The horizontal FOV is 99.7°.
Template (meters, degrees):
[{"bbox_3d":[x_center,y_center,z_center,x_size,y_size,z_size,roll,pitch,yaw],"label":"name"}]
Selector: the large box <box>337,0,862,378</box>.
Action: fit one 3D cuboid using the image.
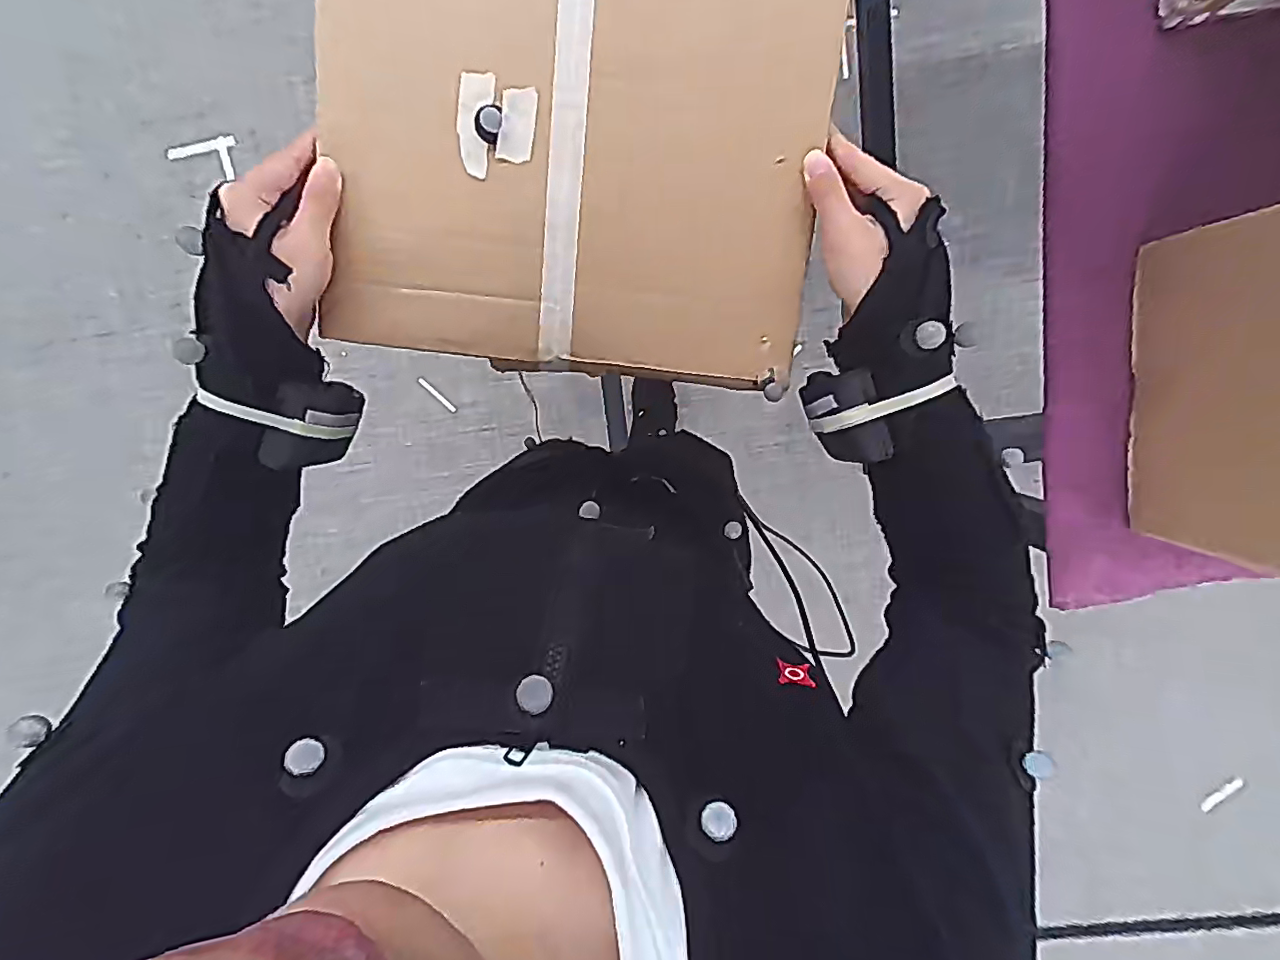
[{"bbox_3d":[-0.025,-0.305,0.460,0.320,0.320,0.408,5,102,0],"label":"large box"}]
